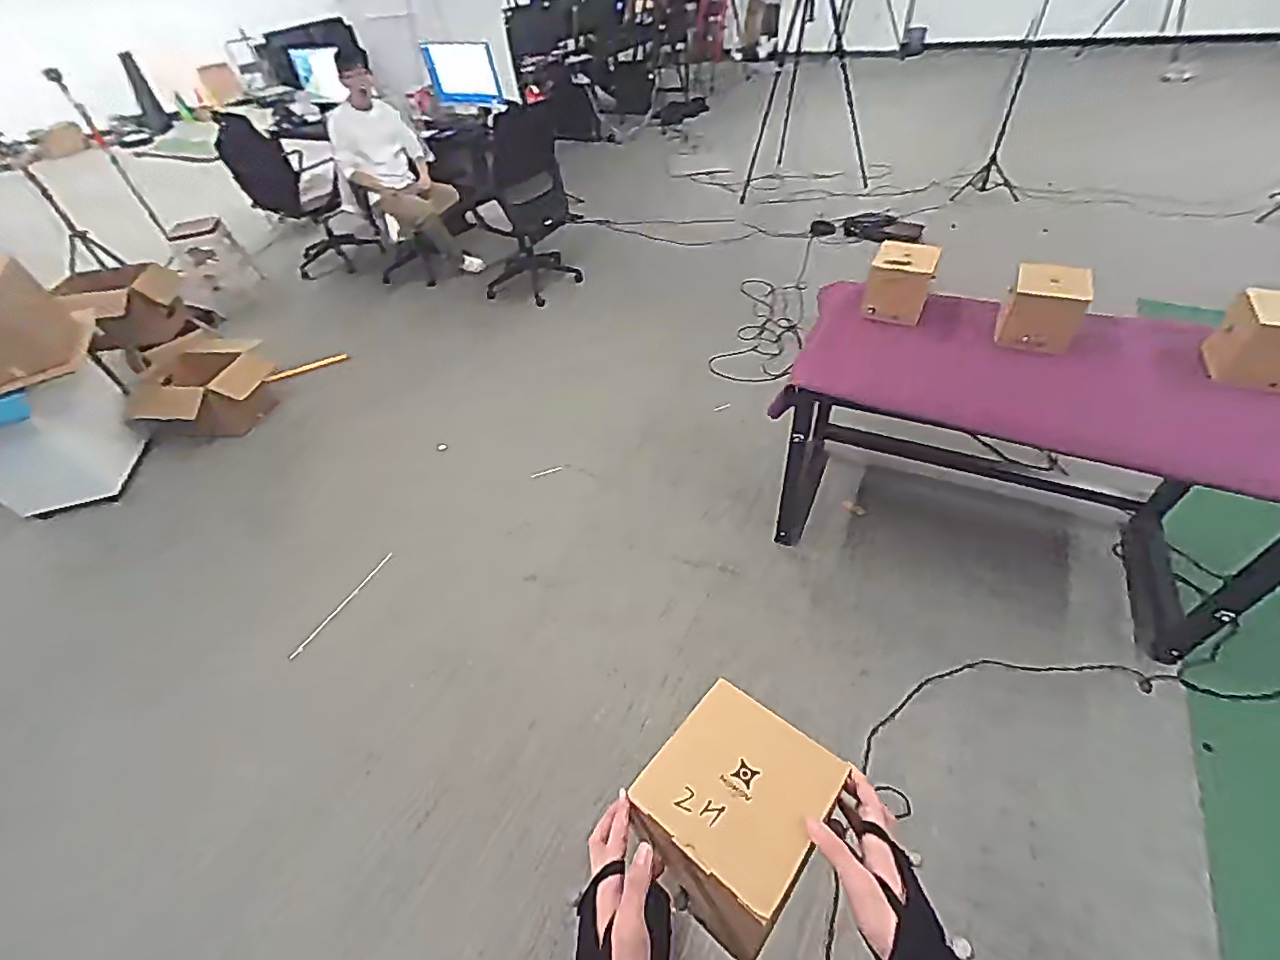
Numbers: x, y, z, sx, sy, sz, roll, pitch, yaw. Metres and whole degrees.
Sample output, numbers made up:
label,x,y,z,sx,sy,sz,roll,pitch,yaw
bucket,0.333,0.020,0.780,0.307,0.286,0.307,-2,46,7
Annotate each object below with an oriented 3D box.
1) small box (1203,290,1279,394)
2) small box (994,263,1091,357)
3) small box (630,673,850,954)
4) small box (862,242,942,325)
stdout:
label,x,y,z,sx,sy,sz,roll,pitch,yaw
small box,1.503,-0.327,1.286,0.168,0.176,0.179,16,49,22
small box,1.091,-0.463,1.472,0.168,0.176,0.179,17,51,23
small box,0.105,0.366,0.606,0.168,0.176,0.179,27,46,34
small box,0.783,-0.591,1.628,0.168,0.176,0.179,20,52,23
